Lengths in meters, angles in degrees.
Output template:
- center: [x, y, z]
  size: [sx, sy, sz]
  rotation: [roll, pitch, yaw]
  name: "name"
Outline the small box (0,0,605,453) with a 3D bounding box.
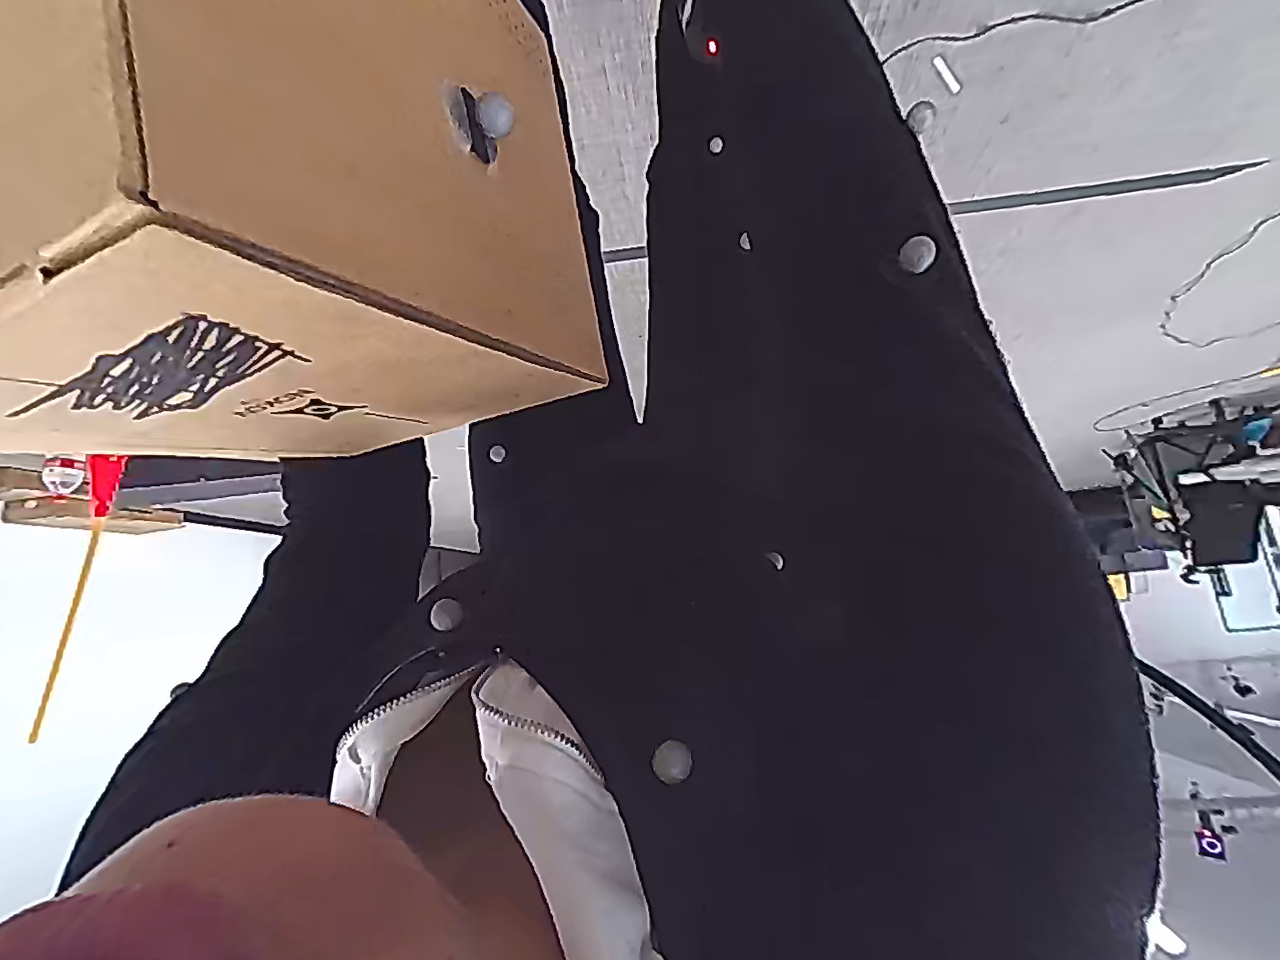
- center: [-0.134, -0.112, 0.198]
  size: [0.168, 0.176, 0.179]
  rotation: [-11, 177, 20]
  name: "small box"
